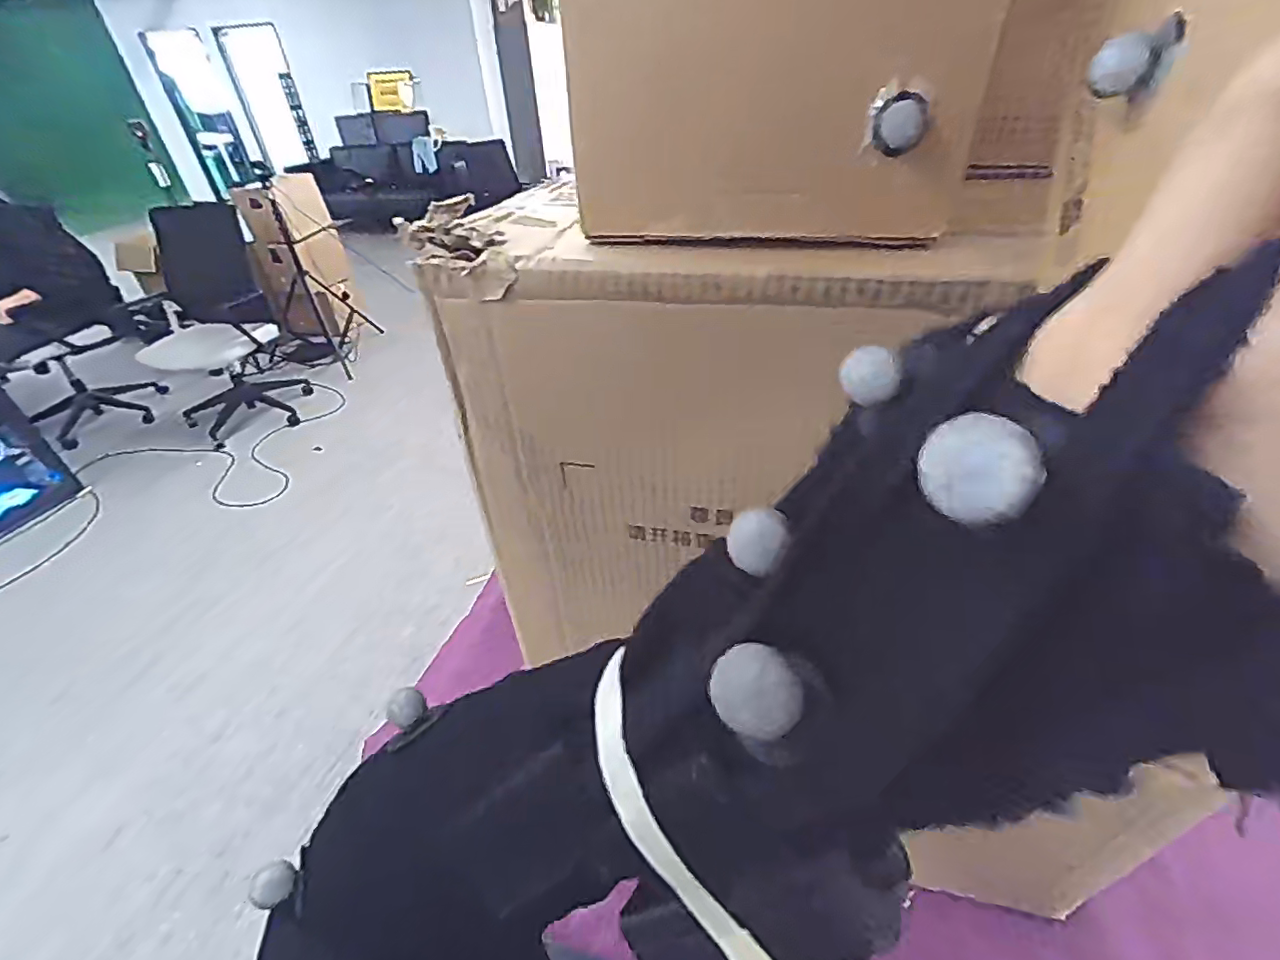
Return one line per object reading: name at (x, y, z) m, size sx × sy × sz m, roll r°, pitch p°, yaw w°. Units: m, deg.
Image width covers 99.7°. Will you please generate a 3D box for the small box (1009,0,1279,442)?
small box at (0.224, -0.100, 0.117) m, size 0.179 × 0.168 × 0.176 m, roll 9°, pitch -3°, yaw 12°
